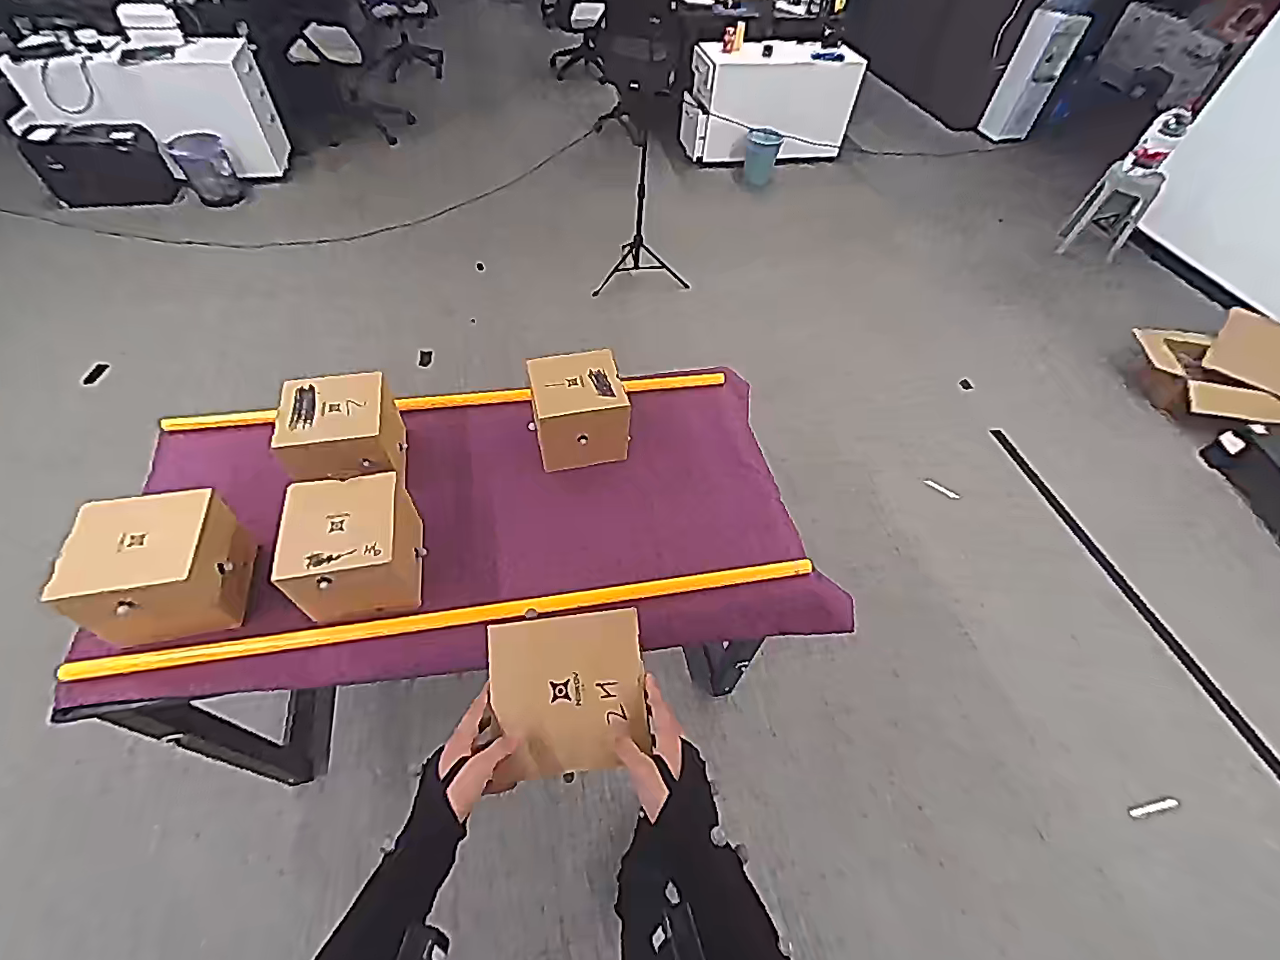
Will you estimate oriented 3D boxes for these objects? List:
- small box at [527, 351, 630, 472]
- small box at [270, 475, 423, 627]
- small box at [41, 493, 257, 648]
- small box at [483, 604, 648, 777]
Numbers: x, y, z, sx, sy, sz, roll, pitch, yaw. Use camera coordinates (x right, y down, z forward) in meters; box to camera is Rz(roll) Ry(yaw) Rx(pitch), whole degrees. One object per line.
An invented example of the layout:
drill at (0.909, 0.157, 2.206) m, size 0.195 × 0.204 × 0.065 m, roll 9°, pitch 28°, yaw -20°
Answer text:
small box at (-0.126, -0.137, 1.106) m, size 0.179 × 0.176 × 0.168 m, roll -11°, pitch 55°, yaw -11°
small box at (-0.464, 0.117, 0.887) m, size 0.168 × 0.176 × 0.179 m, roll -8°, pitch 53°, yaw -10°
small box at (-0.741, 0.143, 0.847) m, size 0.179 × 0.176 × 0.168 m, roll -9°, pitch 53°, yaw -12°
small box at (-0.087, 0.255, 0.673) m, size 0.179 × 0.176 × 0.168 m, roll -6°, pitch 71°, yaw -4°
